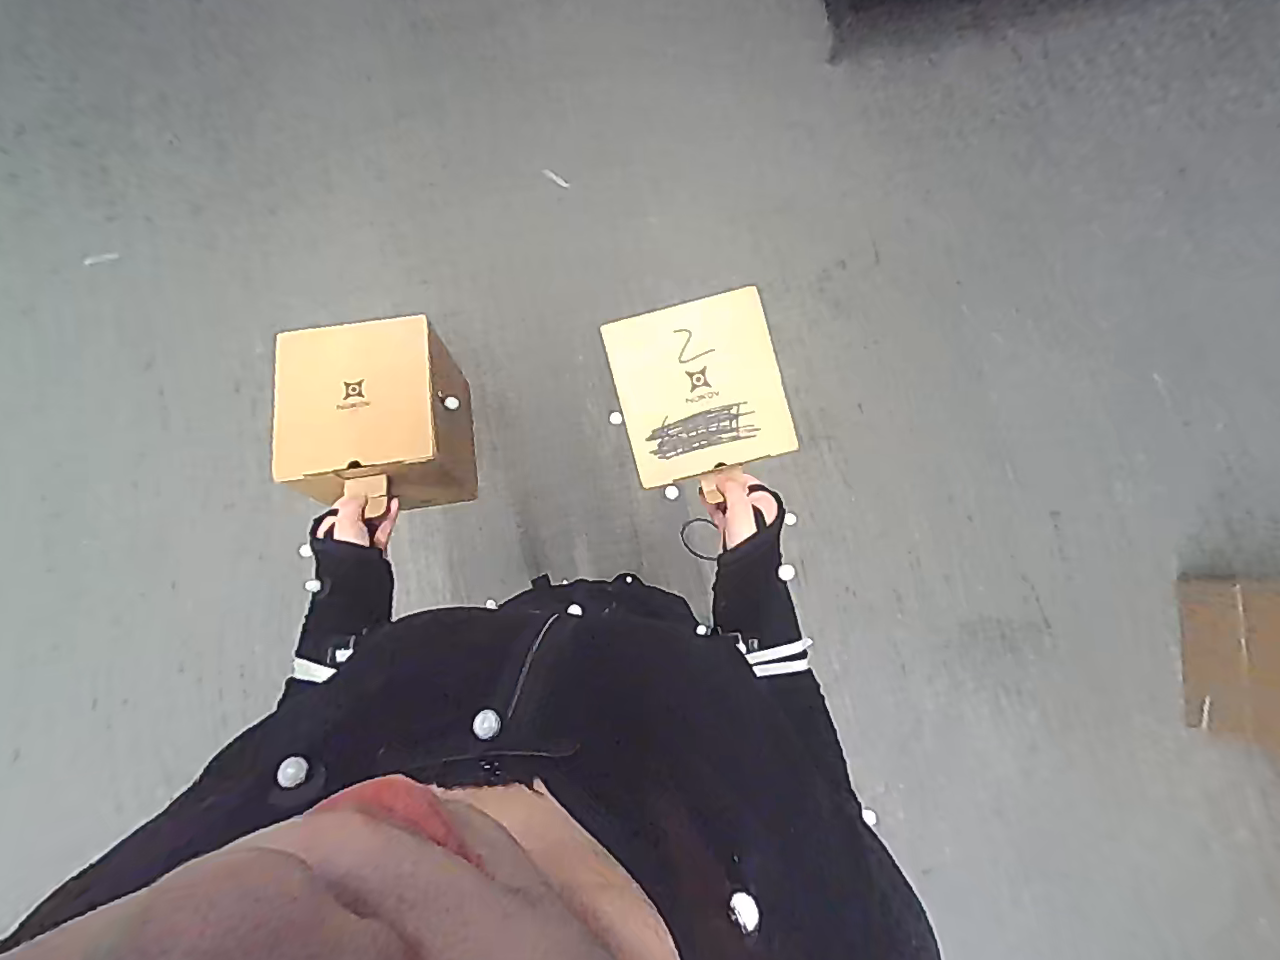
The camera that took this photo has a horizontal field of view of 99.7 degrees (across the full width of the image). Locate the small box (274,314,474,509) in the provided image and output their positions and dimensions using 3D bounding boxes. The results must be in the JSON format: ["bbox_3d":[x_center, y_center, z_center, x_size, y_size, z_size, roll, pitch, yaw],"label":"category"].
[{"bbox_3d":[-0.305,-0.074,0.654,0.168,0.176,0.179,-7,75,-4],"label":"small box"}]
